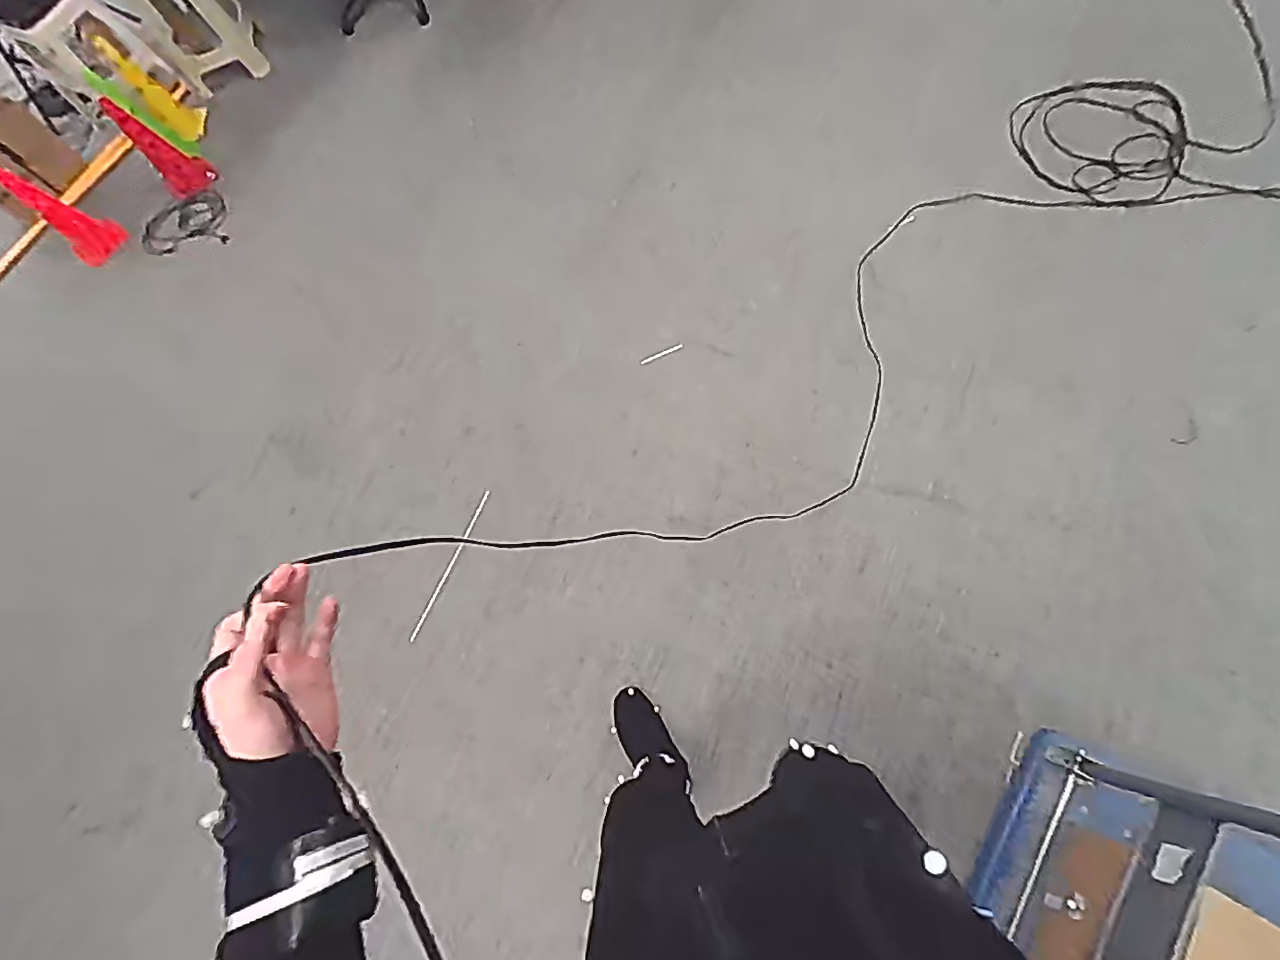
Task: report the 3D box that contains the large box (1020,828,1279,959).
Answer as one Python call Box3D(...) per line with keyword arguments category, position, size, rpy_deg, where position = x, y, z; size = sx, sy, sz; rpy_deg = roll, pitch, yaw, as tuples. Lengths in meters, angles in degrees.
Box3D(category="large box", position=(0.916, 0.849, 0.848), size=(0.408, 0.320, 0.320), rpy_deg=(29, 79, 16))
